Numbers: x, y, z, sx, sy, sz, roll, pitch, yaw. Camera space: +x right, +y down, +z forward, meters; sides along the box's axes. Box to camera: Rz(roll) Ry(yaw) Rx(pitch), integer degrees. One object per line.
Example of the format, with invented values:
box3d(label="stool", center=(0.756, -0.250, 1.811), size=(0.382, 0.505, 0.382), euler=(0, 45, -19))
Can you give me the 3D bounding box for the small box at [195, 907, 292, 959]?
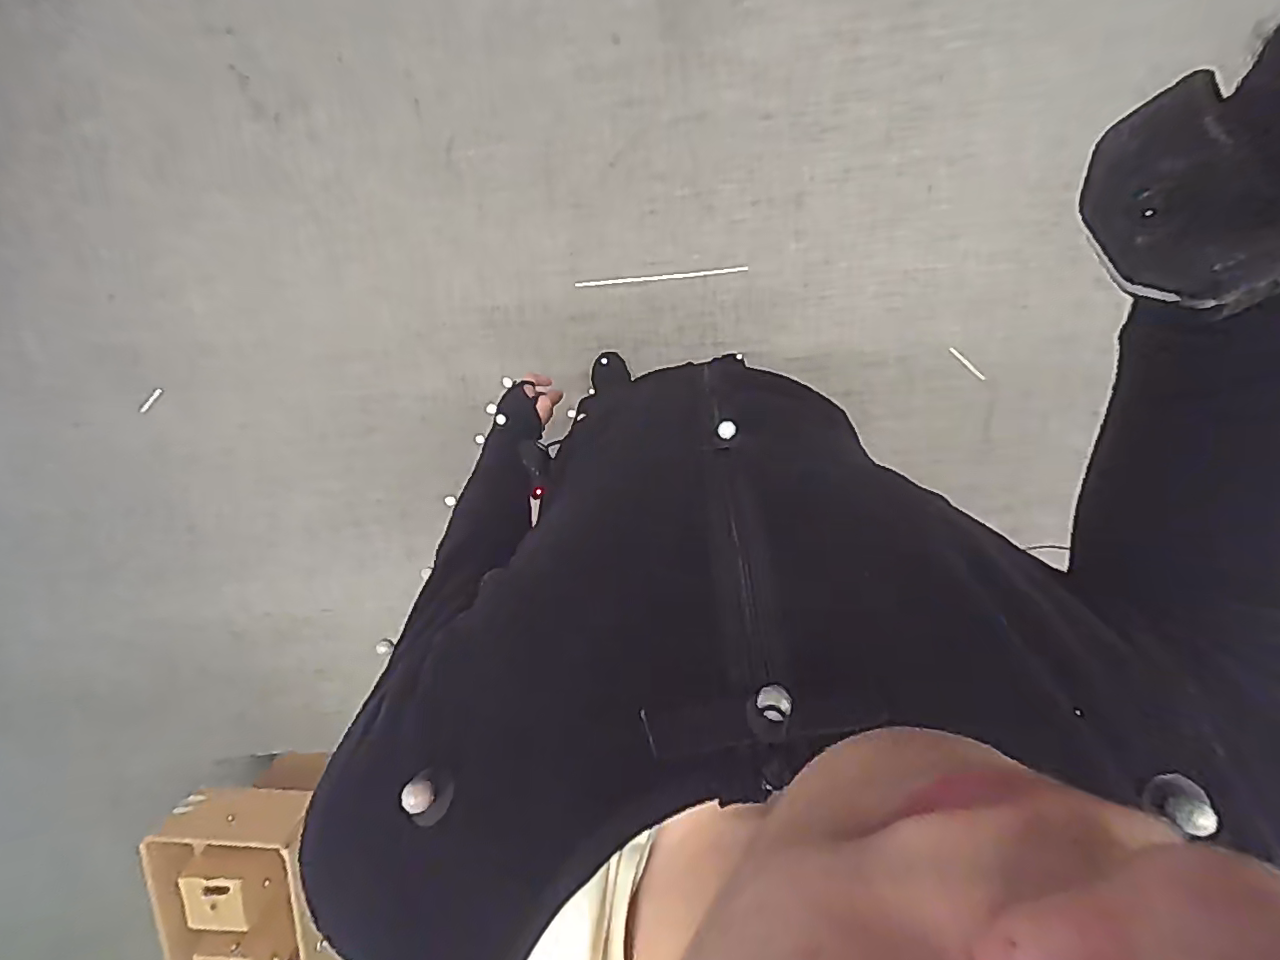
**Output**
box3d(label="small box", center=(-1.129, 1.375, 1.545), size=(0.168, 0.176, 0.179), euler=(3, 103, 2))
